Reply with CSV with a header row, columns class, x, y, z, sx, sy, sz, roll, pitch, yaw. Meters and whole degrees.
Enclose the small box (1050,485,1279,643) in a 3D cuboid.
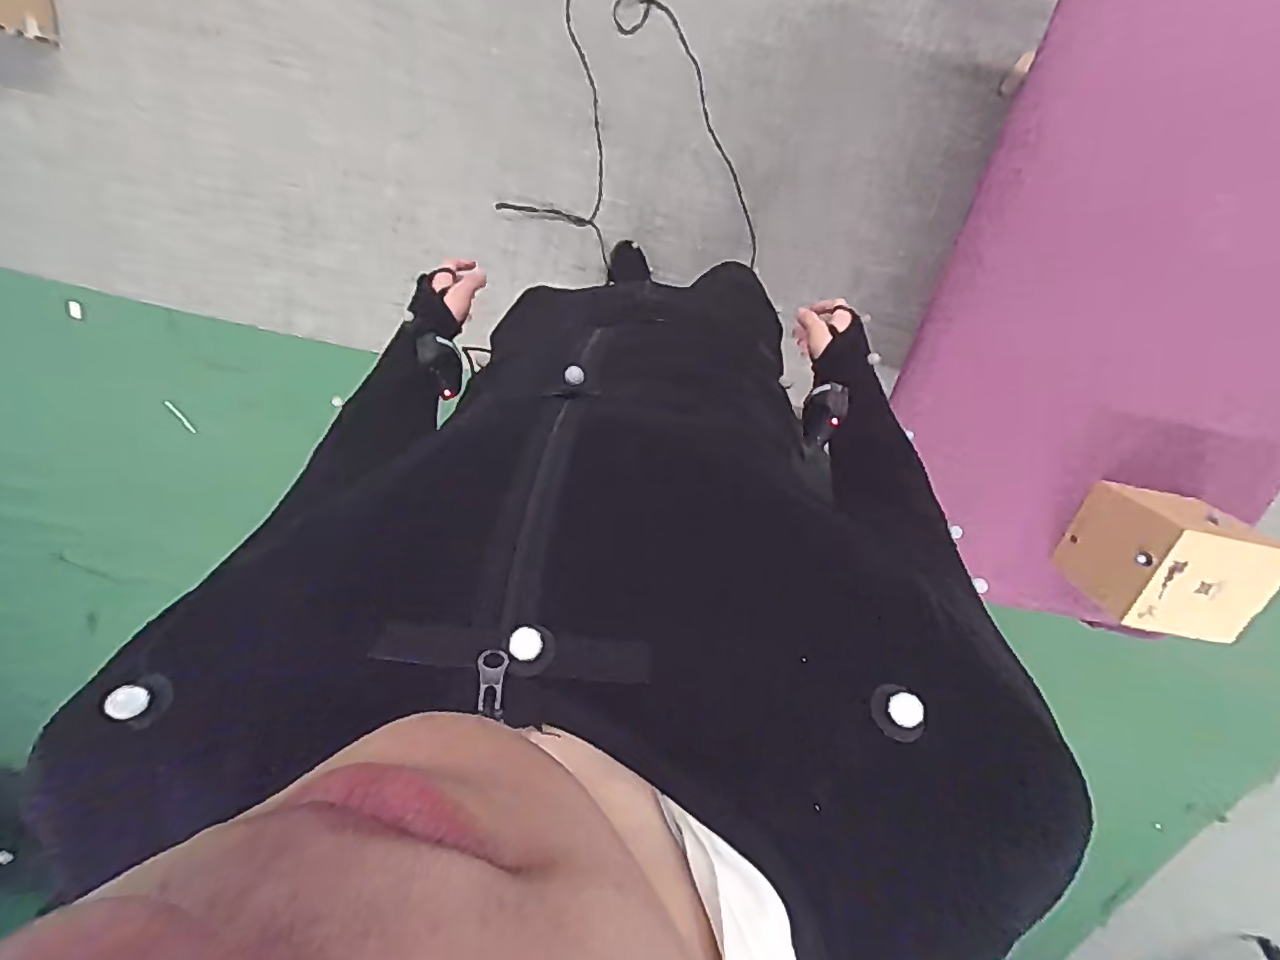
class,x,y,z,sx,sy,sz,roll,pitch,yaw
small box,0.806,0.123,0.841,0.179,0.176,0.168,11,113,-3
